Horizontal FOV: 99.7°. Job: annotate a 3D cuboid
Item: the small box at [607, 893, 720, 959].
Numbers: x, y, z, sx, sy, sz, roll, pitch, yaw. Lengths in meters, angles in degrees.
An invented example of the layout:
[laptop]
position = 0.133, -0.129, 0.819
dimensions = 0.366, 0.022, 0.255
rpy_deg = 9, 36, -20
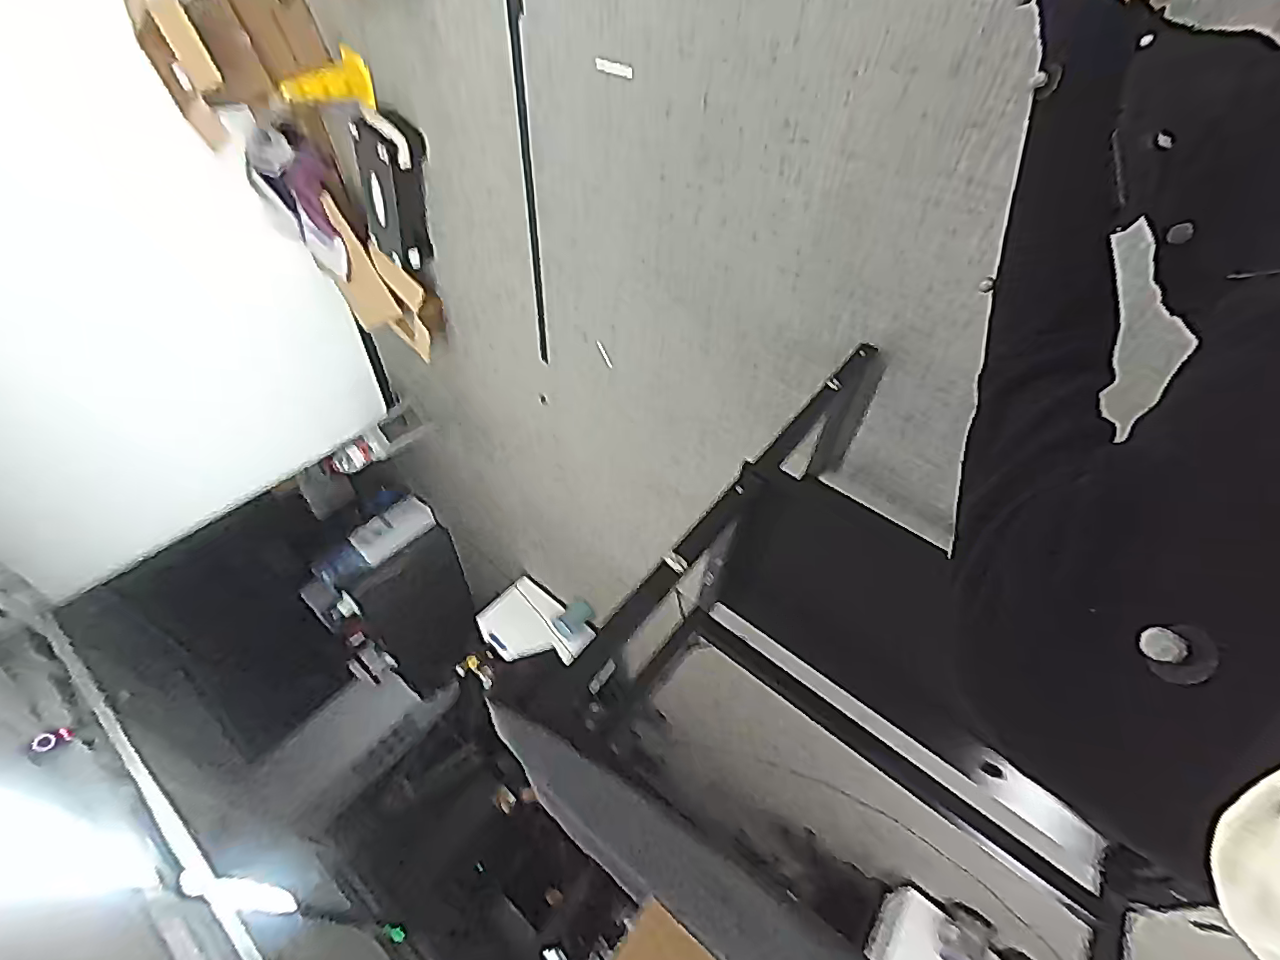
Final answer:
[small box]
position = 0.036, 0.932, 1.022
dimensions = 0.179, 0.176, 0.168
rpy_deg = 33, 143, 23
